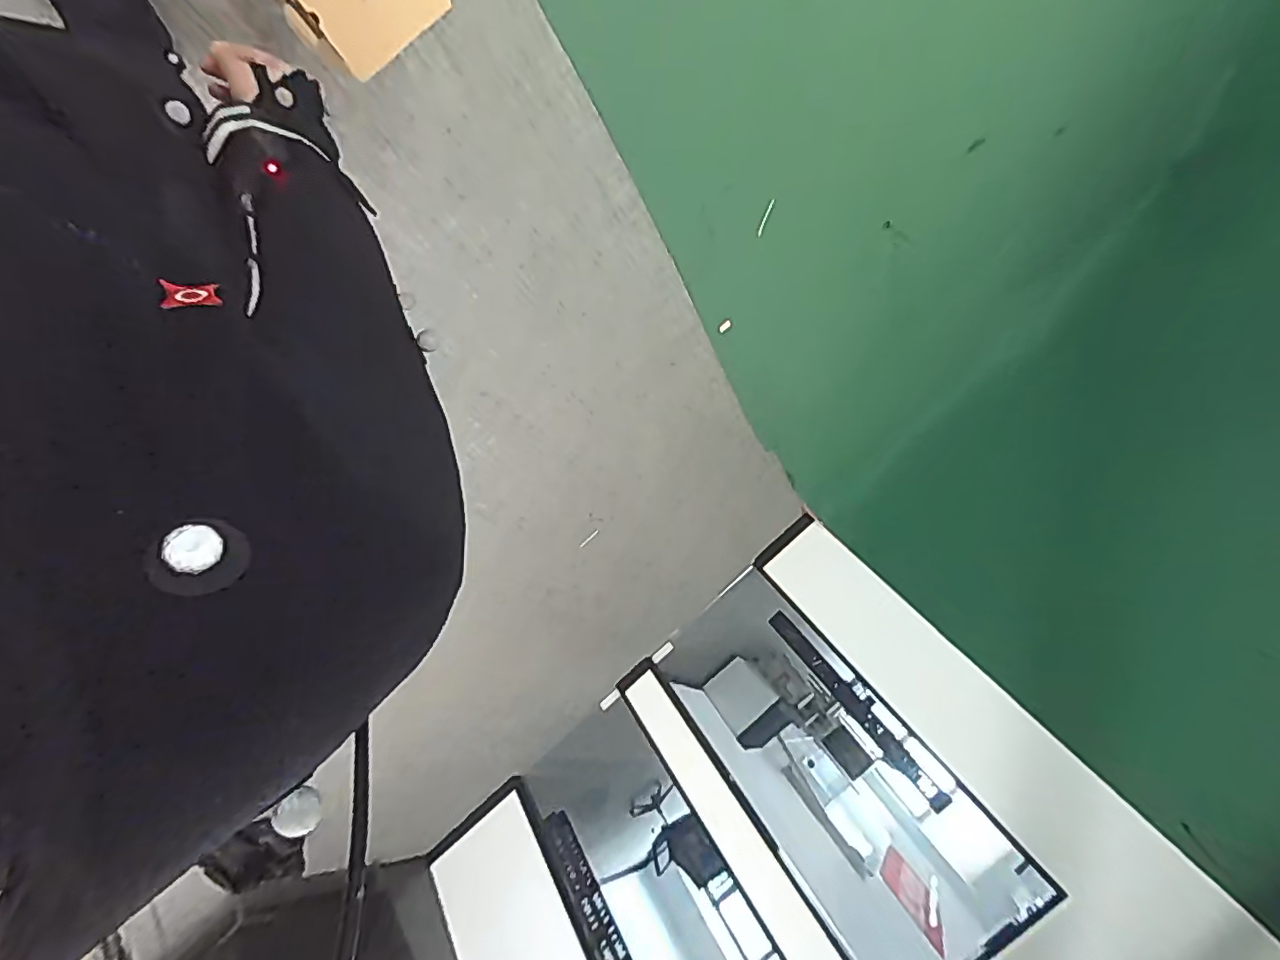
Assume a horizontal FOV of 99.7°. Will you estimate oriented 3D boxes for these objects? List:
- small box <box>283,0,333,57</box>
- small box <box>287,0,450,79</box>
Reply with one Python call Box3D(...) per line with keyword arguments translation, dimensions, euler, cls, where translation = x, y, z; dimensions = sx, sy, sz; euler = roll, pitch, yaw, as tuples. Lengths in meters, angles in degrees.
Box3D(translation=(-0.491, -0.805, 0.830), dimensions=(0.179, 0.176, 0.168), euler=(-40, 146, 2), cls="small box")
Box3D(translation=(-0.402, -0.703, 0.738), dimensions=(0.179, 0.176, 0.168), euler=(-41, 145, 1), cls="small box")
